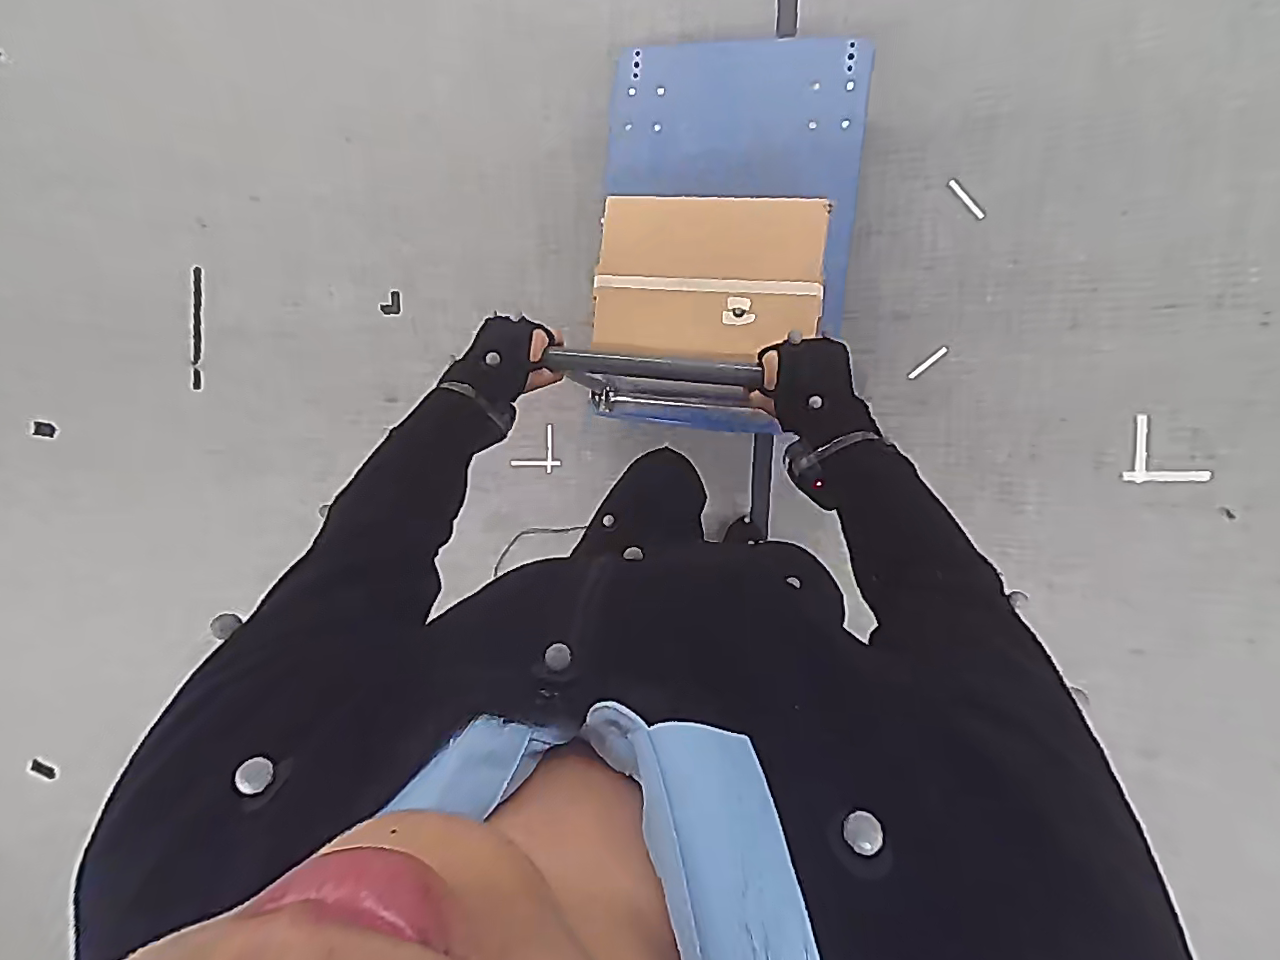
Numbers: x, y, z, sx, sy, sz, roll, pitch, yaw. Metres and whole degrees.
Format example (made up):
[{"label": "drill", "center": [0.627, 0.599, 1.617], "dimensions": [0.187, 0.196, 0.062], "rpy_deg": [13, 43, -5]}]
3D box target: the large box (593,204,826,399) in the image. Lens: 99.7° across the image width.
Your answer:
[{"label": "large box", "center": [0.141, -0.347, 1.122], "dimensions": [0.408, 0.320, 0.320], "rpy_deg": [6, 95, 11]}]
